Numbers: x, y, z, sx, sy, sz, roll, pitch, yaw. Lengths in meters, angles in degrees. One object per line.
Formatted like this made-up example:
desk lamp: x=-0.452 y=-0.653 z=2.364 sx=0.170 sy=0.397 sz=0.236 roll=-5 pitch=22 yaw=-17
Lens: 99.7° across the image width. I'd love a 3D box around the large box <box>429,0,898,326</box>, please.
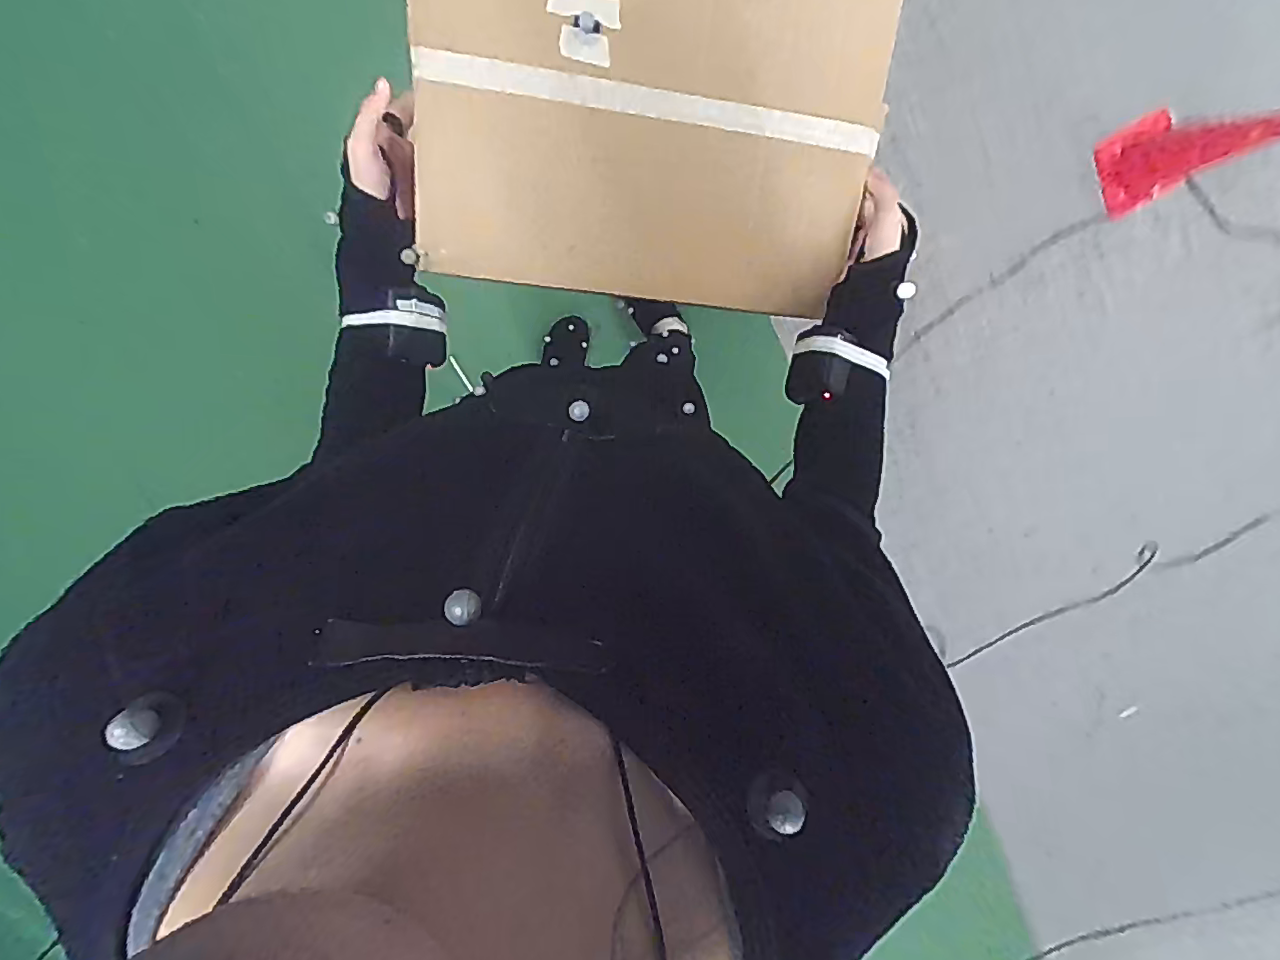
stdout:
large box: x=0.001 y=-0.371 z=0.627 sx=0.408 sy=0.320 sz=0.320 roll=5 pitch=109 yaw=-9
